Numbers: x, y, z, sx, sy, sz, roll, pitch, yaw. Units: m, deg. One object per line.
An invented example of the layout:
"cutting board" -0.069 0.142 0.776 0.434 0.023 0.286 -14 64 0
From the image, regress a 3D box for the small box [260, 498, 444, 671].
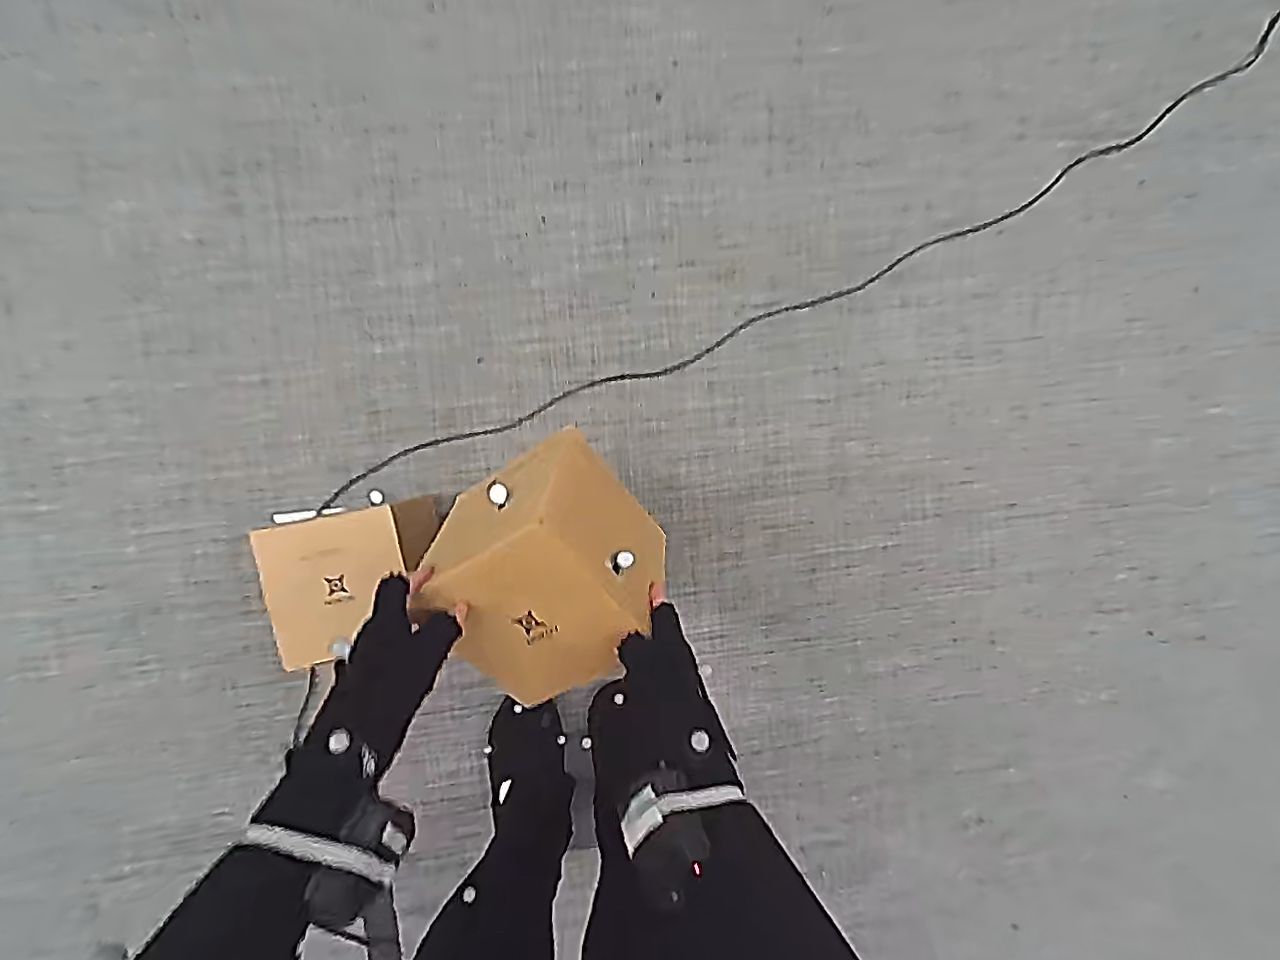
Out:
"small box" -0.362 0.129 0.730 0.168 0.176 0.179 -10 93 -4

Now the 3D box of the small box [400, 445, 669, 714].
"small box" -0.088 0.088 0.532 0.168 0.176 0.179 -30 118 20
